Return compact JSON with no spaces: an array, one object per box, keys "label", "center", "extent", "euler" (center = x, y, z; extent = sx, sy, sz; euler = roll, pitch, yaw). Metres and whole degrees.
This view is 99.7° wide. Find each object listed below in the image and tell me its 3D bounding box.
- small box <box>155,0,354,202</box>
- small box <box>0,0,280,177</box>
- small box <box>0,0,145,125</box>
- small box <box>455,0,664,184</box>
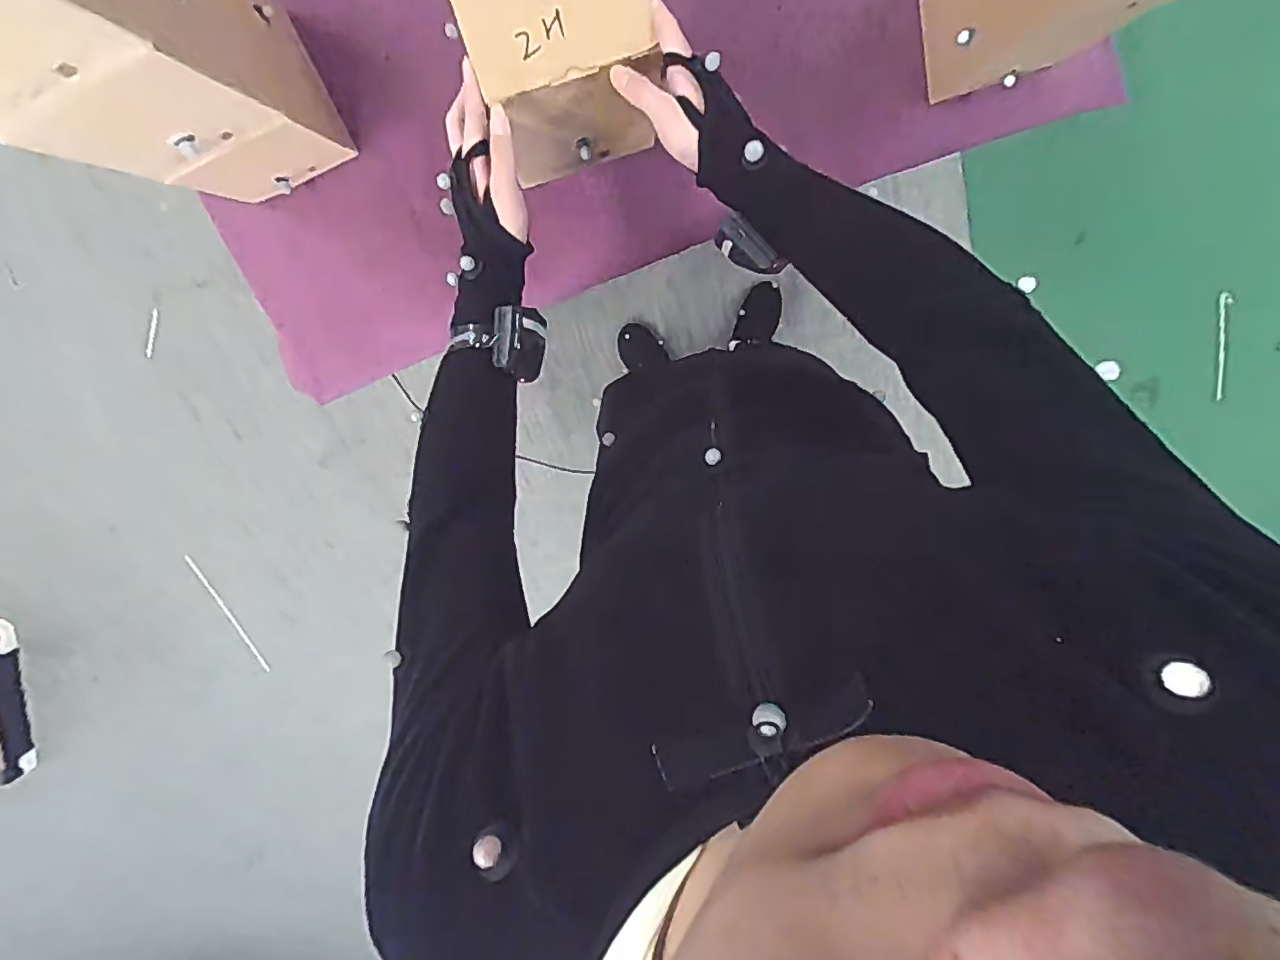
[{"label":"small box","center":[-0.489,-0.461,0.645],"extent":[0.168,0.176,0.179],"euler":[-21,109,7]},{"label":"small box","center":[-0.487,-0.409,0.490],"extent":[0.168,0.176,0.179],"euler":[-21,109,8]},{"label":"small box","center":[-0.487,-0.355,0.337],"extent":[0.168,0.176,0.179],"euler":[-22,108,8]},{"label":"small box","center":[-0.083,-0.439,0.541],"extent":[0.168,0.176,0.179],"euler":[-18,96,0]}]
